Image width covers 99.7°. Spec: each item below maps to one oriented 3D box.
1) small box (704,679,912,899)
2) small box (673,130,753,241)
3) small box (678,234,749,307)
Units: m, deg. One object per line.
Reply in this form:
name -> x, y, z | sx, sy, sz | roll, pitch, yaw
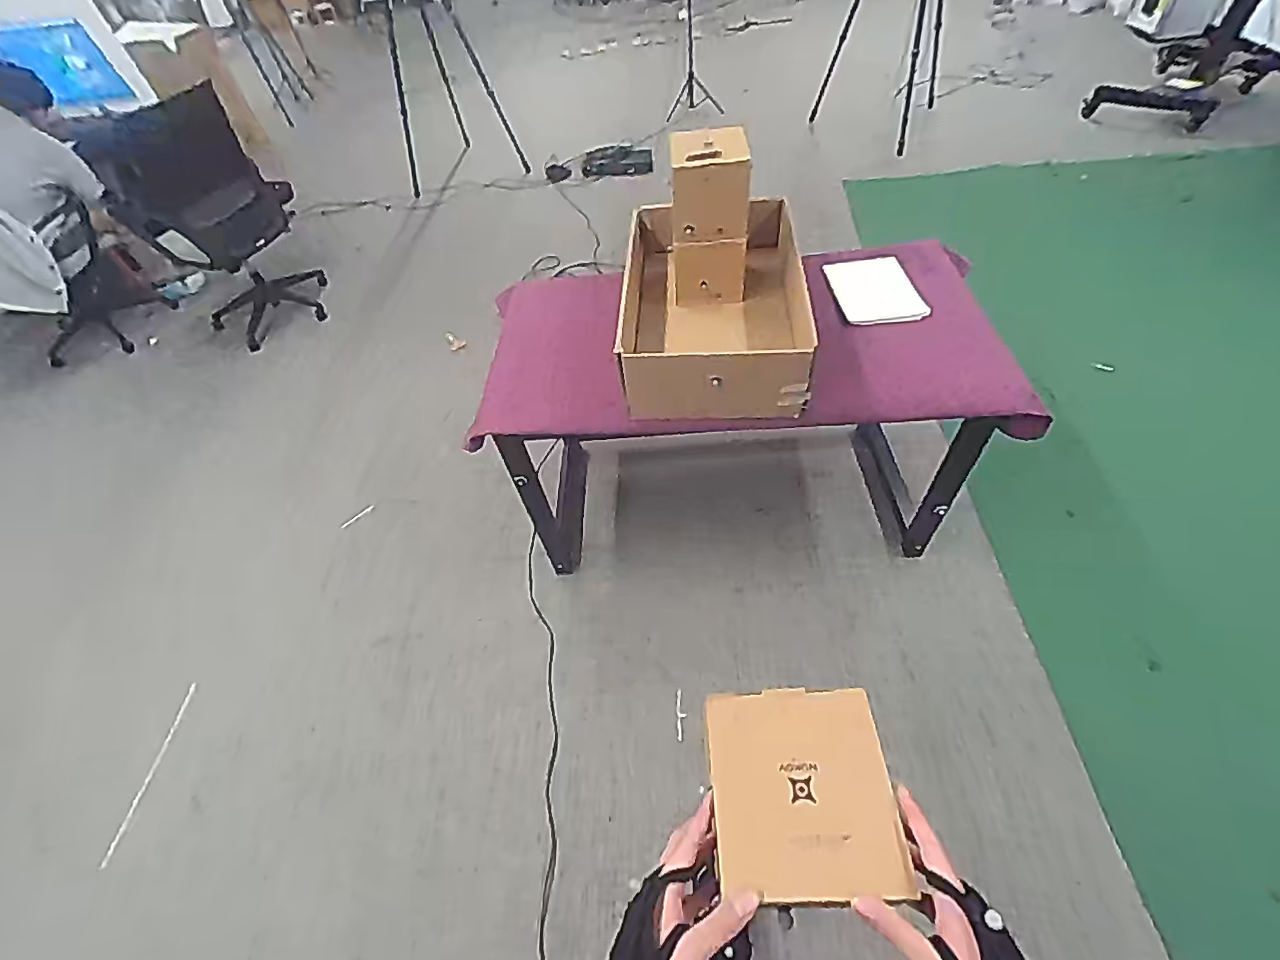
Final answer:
small box -> 0.154, 0.326, 0.570 | 0.168, 0.176, 0.179 | -4, 51, 5
small box -> 0.163, -0.662, 1.228 | 0.168, 0.176, 0.179 | -2, 52, 4
small box -> 0.178, -0.557, 1.354 | 0.168, 0.176, 0.179 | -2, 54, 5
